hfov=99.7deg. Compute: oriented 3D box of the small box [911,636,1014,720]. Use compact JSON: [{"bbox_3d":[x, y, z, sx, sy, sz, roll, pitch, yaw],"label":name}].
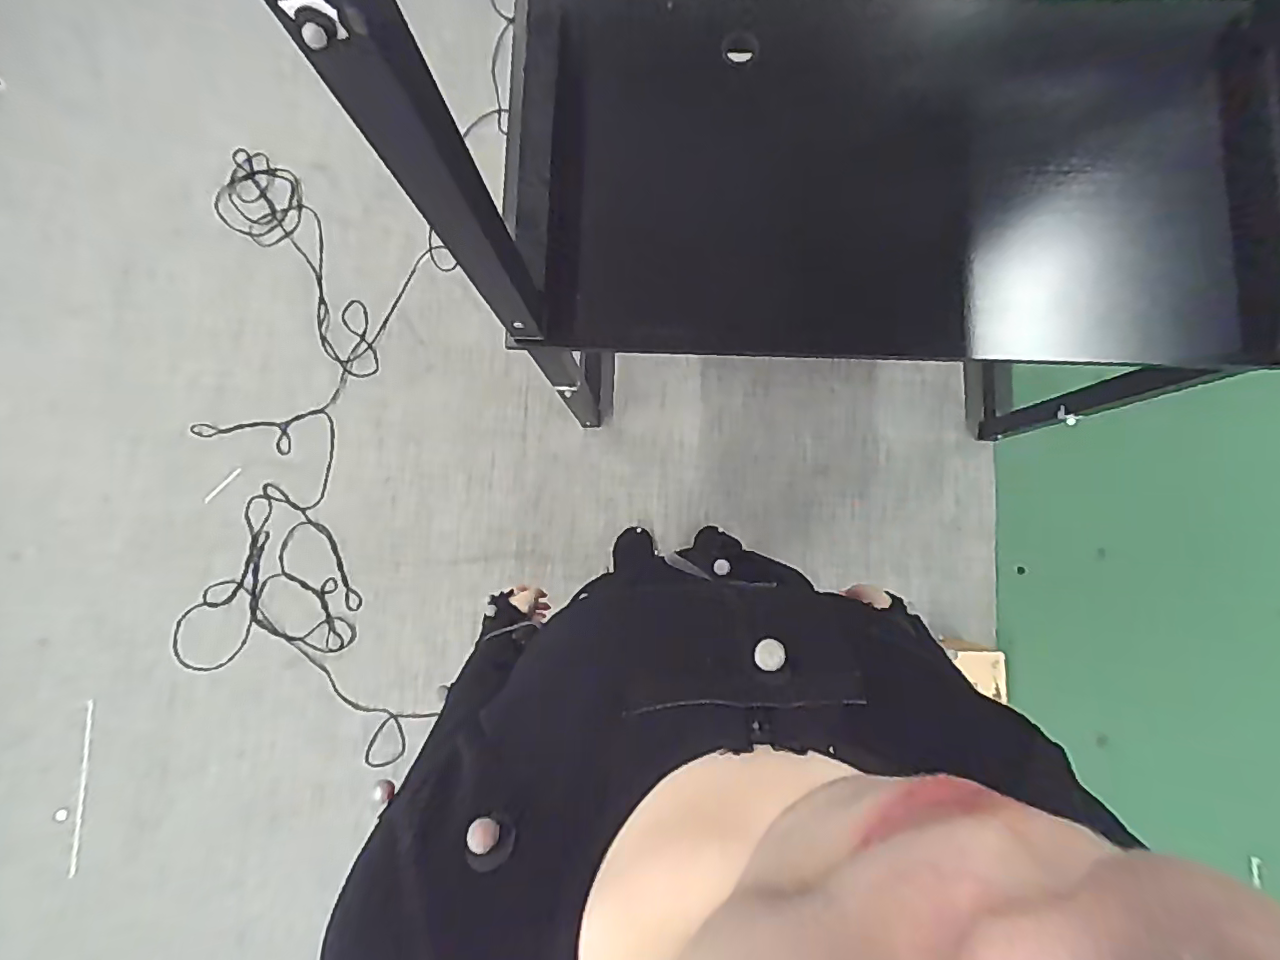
[{"bbox_3d":[0.806,0.495,1.371,0.179,0.176,0.168,1,84,3],"label":"small box"}]
